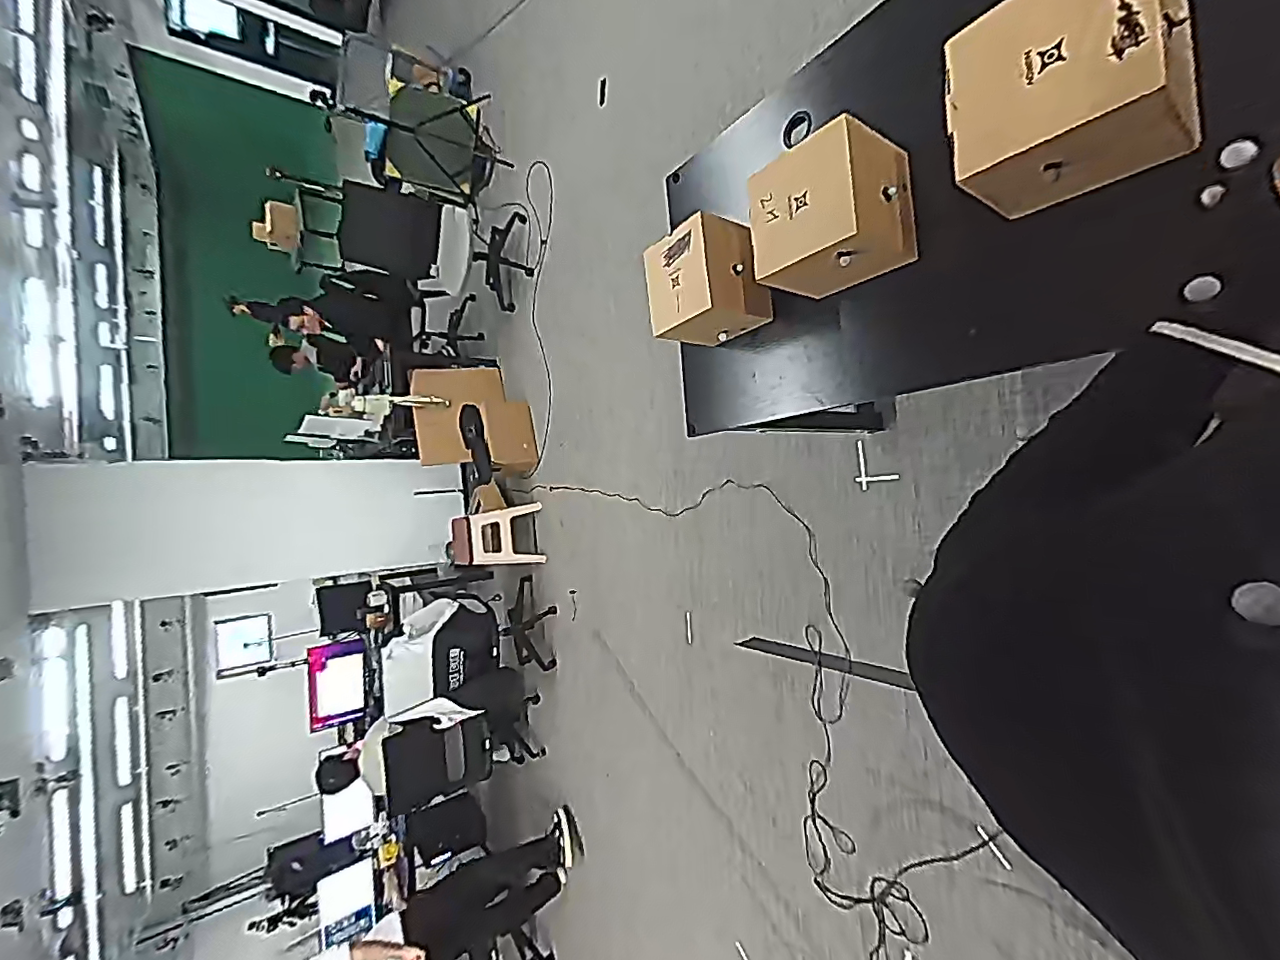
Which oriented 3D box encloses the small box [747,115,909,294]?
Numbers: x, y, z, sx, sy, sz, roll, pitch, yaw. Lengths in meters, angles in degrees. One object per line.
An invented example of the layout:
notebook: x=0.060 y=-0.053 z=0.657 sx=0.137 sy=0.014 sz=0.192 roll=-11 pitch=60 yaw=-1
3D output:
small box: x=0.291 y=-0.404 z=0.829 sx=0.179 sy=0.176 sz=0.168 roll=-8 pitch=85 yaw=53

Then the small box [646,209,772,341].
small box: x=0.134 y=-0.381 z=1.043 sx=0.168 sy=0.176 sz=0.179 roll=-11 pitch=85 yaw=53

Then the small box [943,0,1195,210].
small box: x=0.466 y=-0.427 z=0.595 sx=0.179 sy=0.176 sz=0.168 roll=-5 pitch=89 yaw=54
